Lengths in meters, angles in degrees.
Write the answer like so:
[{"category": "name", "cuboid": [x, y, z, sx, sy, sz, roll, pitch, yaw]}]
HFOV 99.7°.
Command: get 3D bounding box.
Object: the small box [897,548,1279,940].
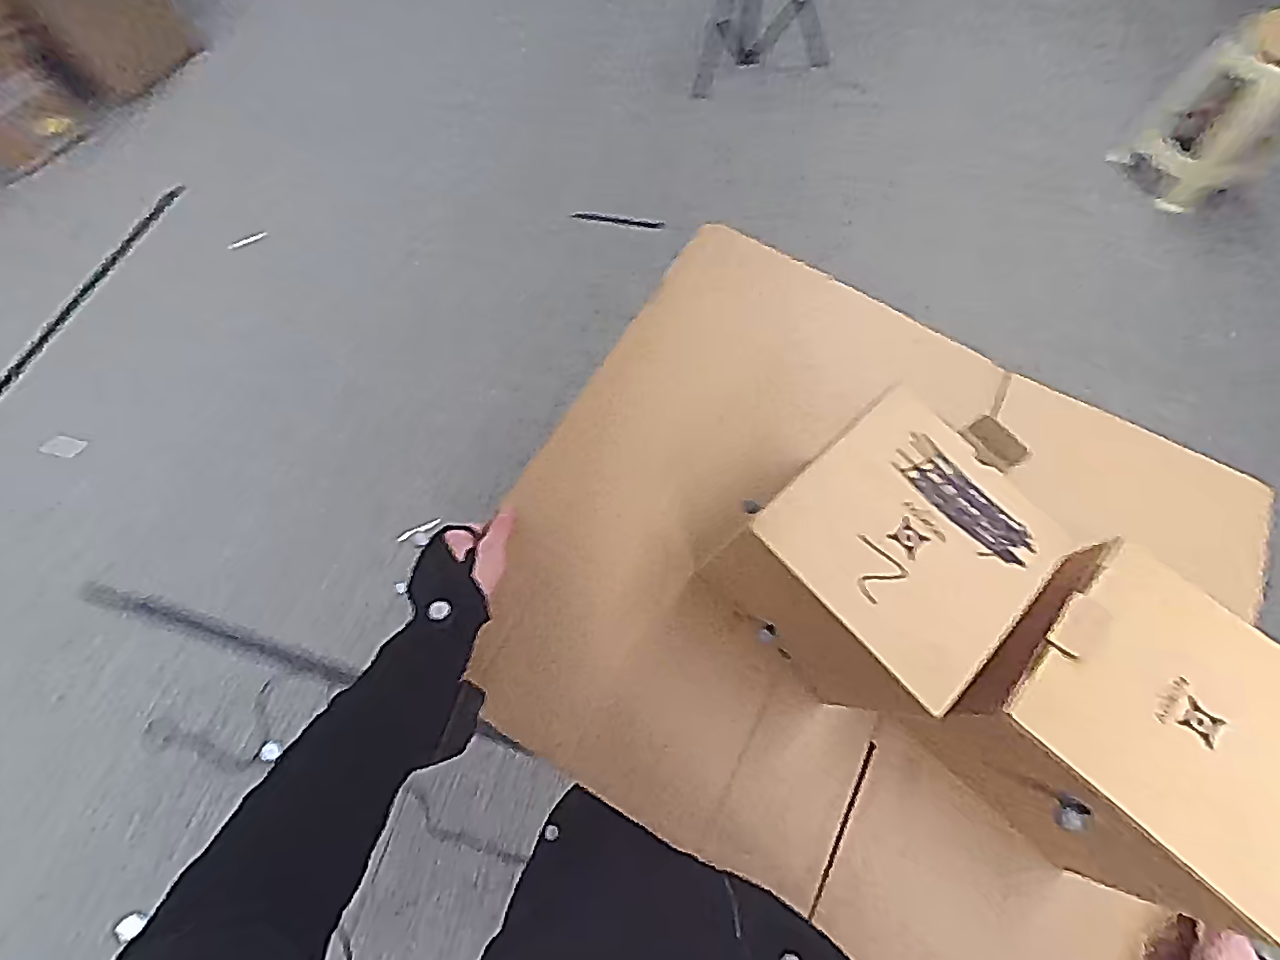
[{"category": "small box", "cuboid": [0.348, 0.186, 0.424, 0.179, 0.176, 0.168, 41, 72, 16]}]
